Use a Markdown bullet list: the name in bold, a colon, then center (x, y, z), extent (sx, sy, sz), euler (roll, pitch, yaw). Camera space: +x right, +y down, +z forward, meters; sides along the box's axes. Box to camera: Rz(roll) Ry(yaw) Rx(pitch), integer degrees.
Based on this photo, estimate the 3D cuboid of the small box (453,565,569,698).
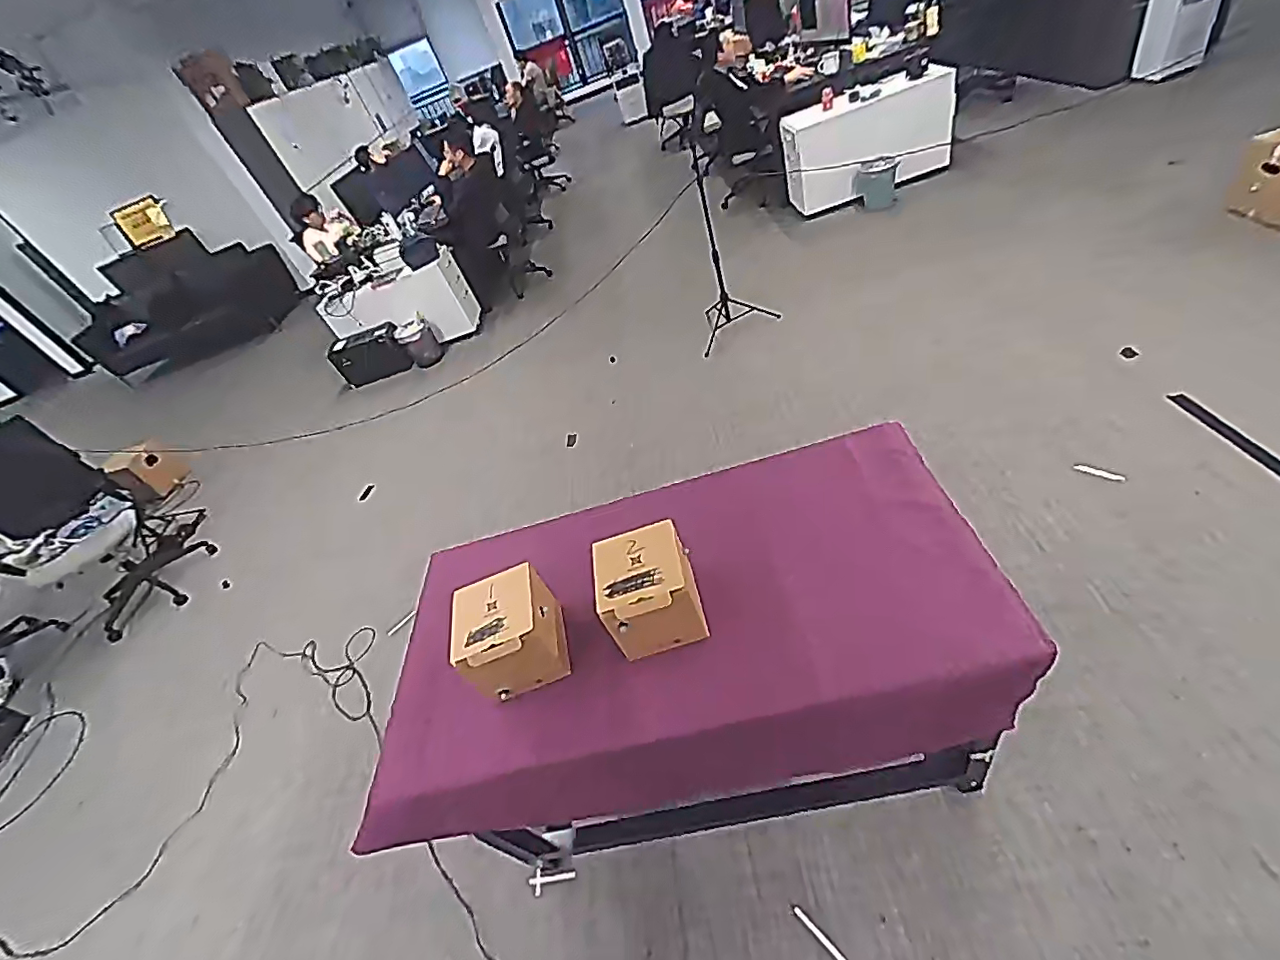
- **small box**: center (-0.251, 0.307, 1.072), extent (0.168, 0.176, 0.179), euler (-22, 40, 1)
